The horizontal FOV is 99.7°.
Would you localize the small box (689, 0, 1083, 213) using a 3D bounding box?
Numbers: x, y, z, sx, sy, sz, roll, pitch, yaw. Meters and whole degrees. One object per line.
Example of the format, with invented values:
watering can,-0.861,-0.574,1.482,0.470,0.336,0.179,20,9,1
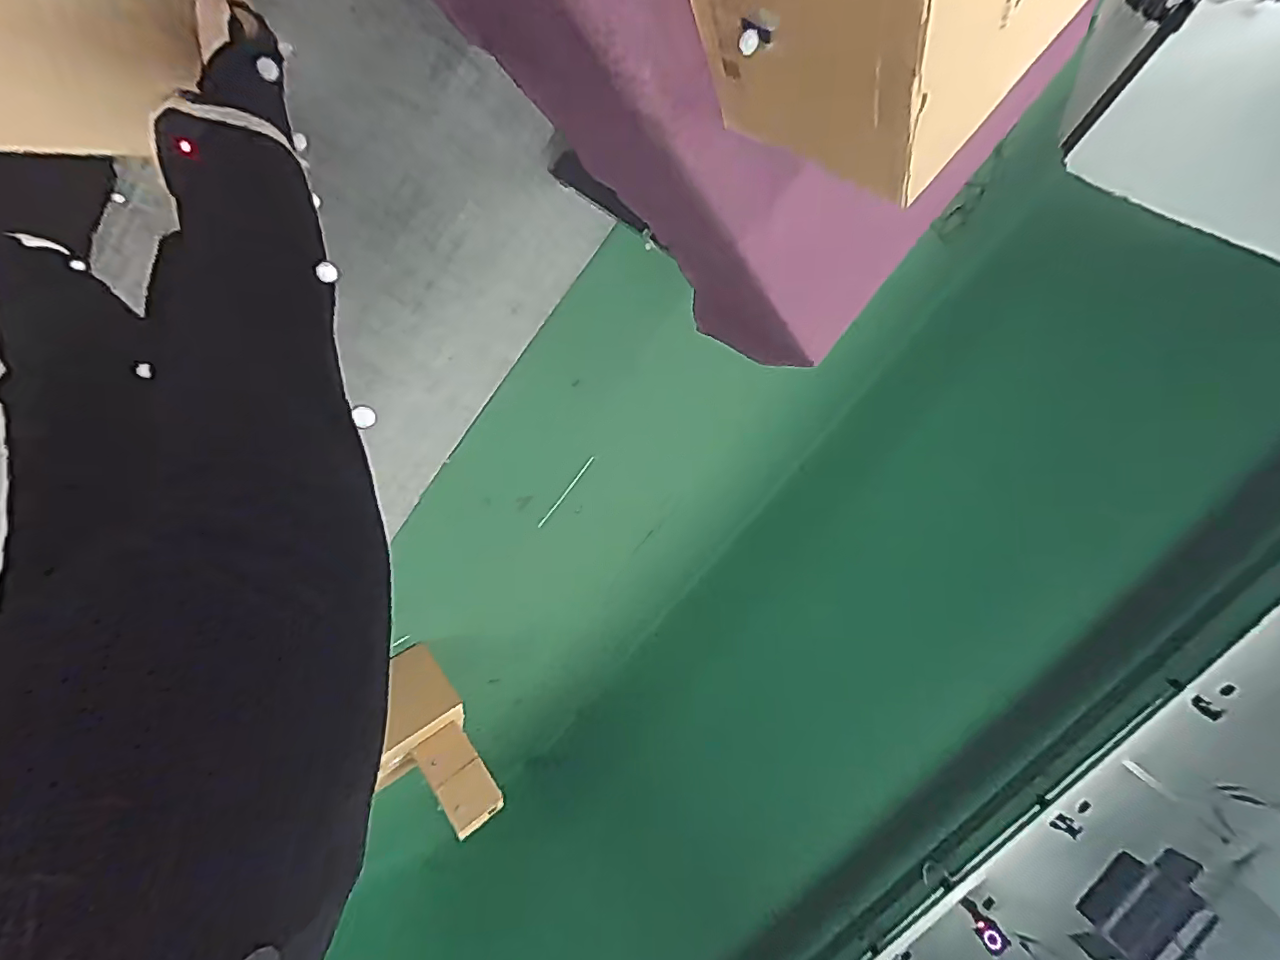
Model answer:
small box,0.148,-0.312,0.320,0.179,0.176,0.168,-48,156,6
